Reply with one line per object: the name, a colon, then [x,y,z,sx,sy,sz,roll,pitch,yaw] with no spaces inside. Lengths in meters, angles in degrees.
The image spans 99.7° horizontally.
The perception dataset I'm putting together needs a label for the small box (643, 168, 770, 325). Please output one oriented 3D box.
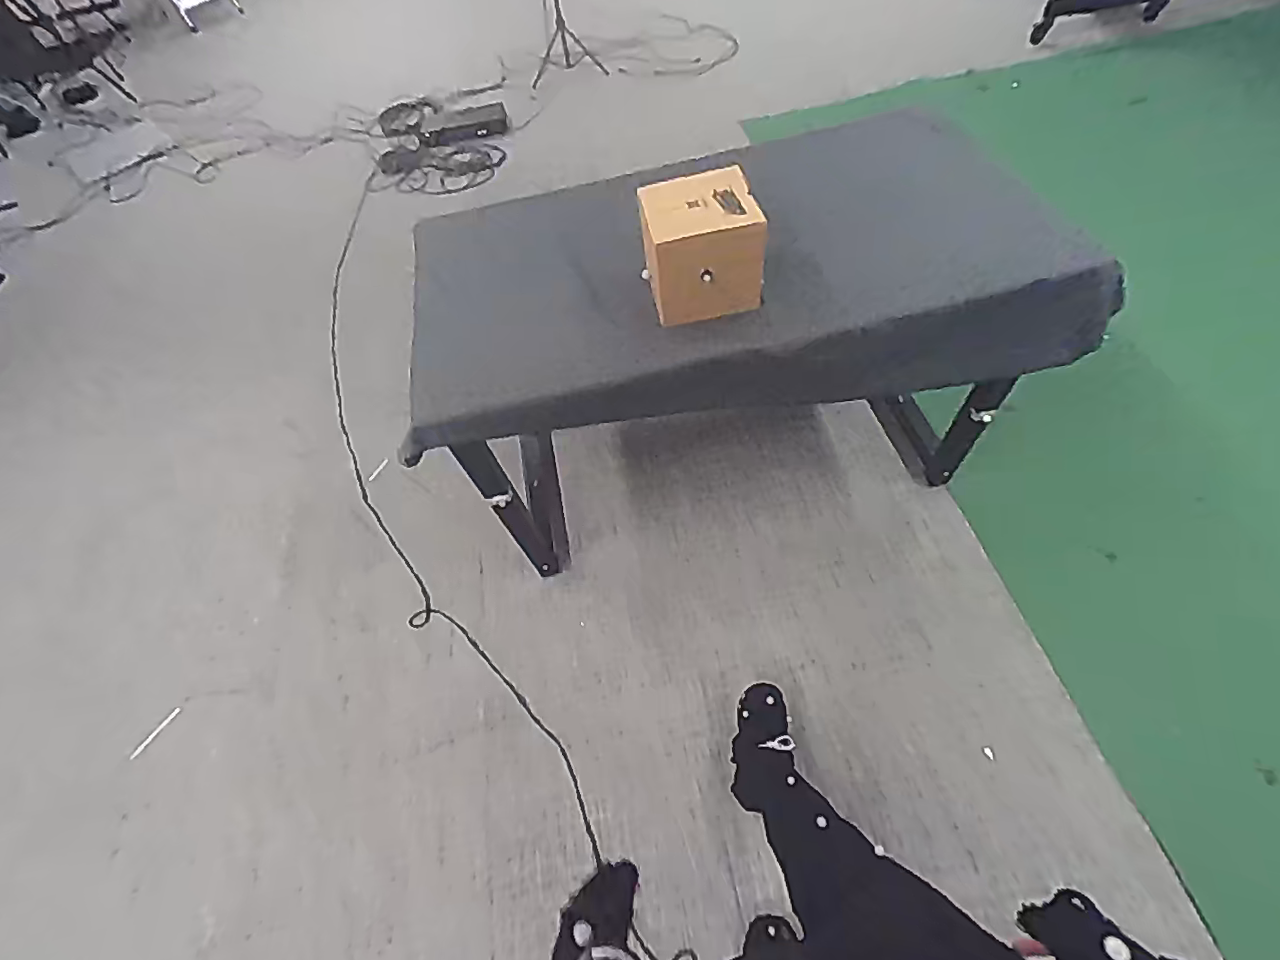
small box: [0.109,-0.394,0.925,0.179,0.176,0.168,-11,57,1]
